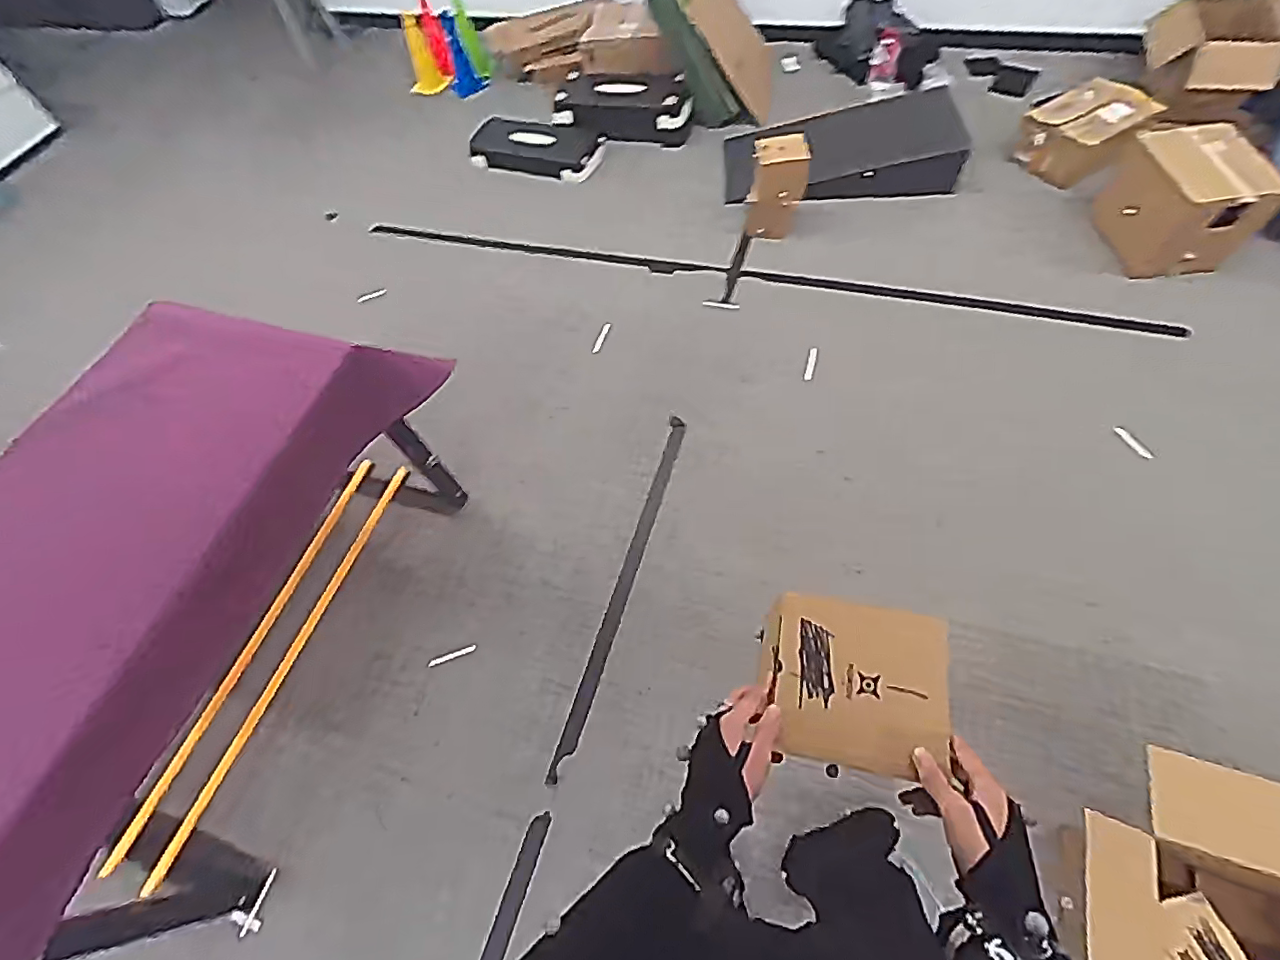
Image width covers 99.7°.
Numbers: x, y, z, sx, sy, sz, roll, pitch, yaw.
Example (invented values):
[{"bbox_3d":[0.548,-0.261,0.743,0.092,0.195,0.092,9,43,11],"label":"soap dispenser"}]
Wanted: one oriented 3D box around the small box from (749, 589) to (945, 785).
[{"bbox_3d":[0.227,0.239,0.630,0.179,0.176,0.168,8,67,8],"label":"small box"}]
